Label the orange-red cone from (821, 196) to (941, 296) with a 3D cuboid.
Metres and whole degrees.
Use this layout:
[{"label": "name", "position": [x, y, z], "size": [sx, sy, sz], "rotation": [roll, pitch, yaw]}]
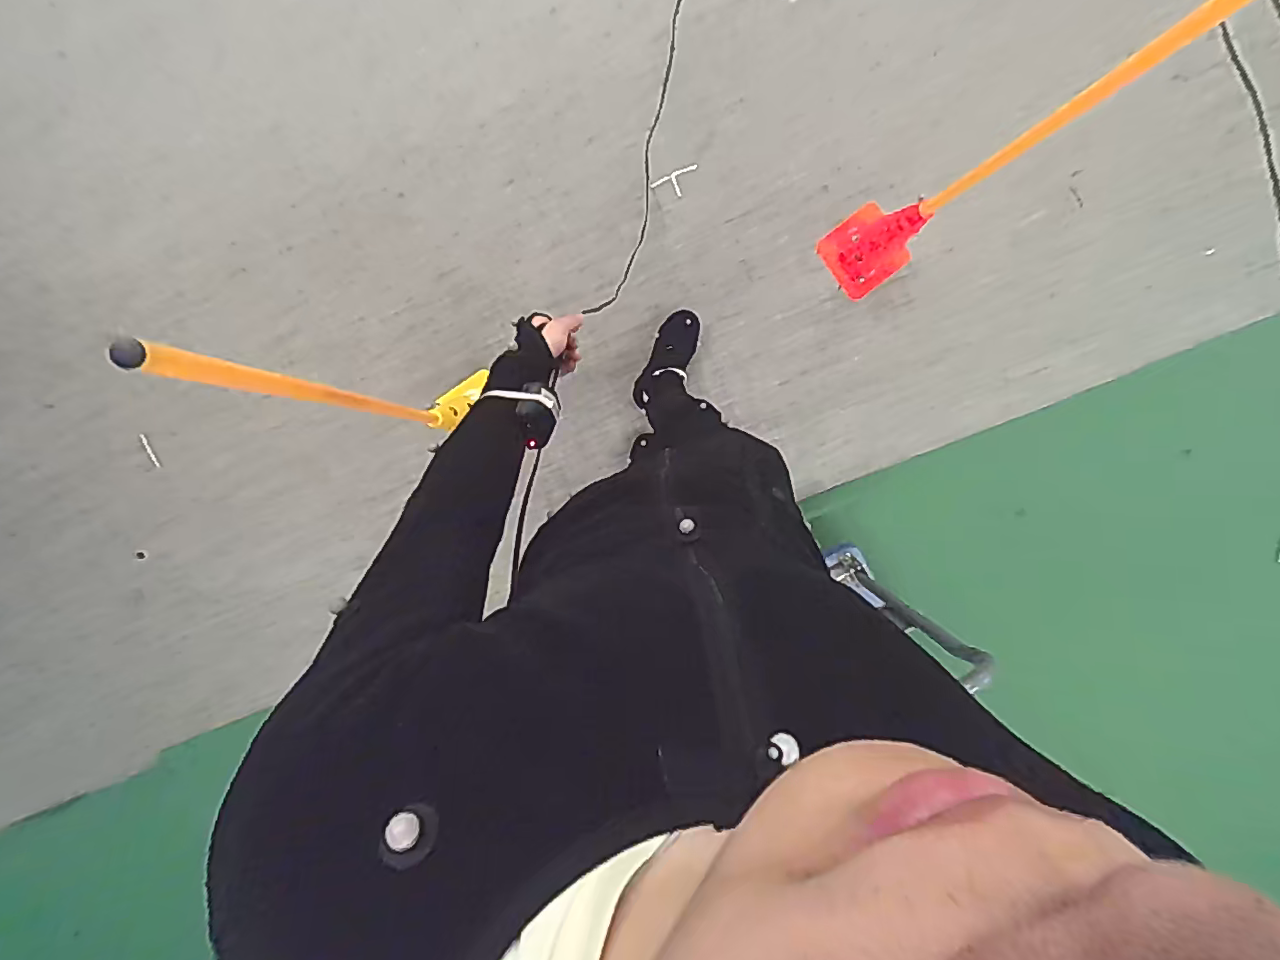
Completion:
[{"label": "orange-red cone", "position": [0.625, -0.614, 1.324], "size": [0.199, 0.360, 0.198], "rotation": [-37, 97, 5]}]
